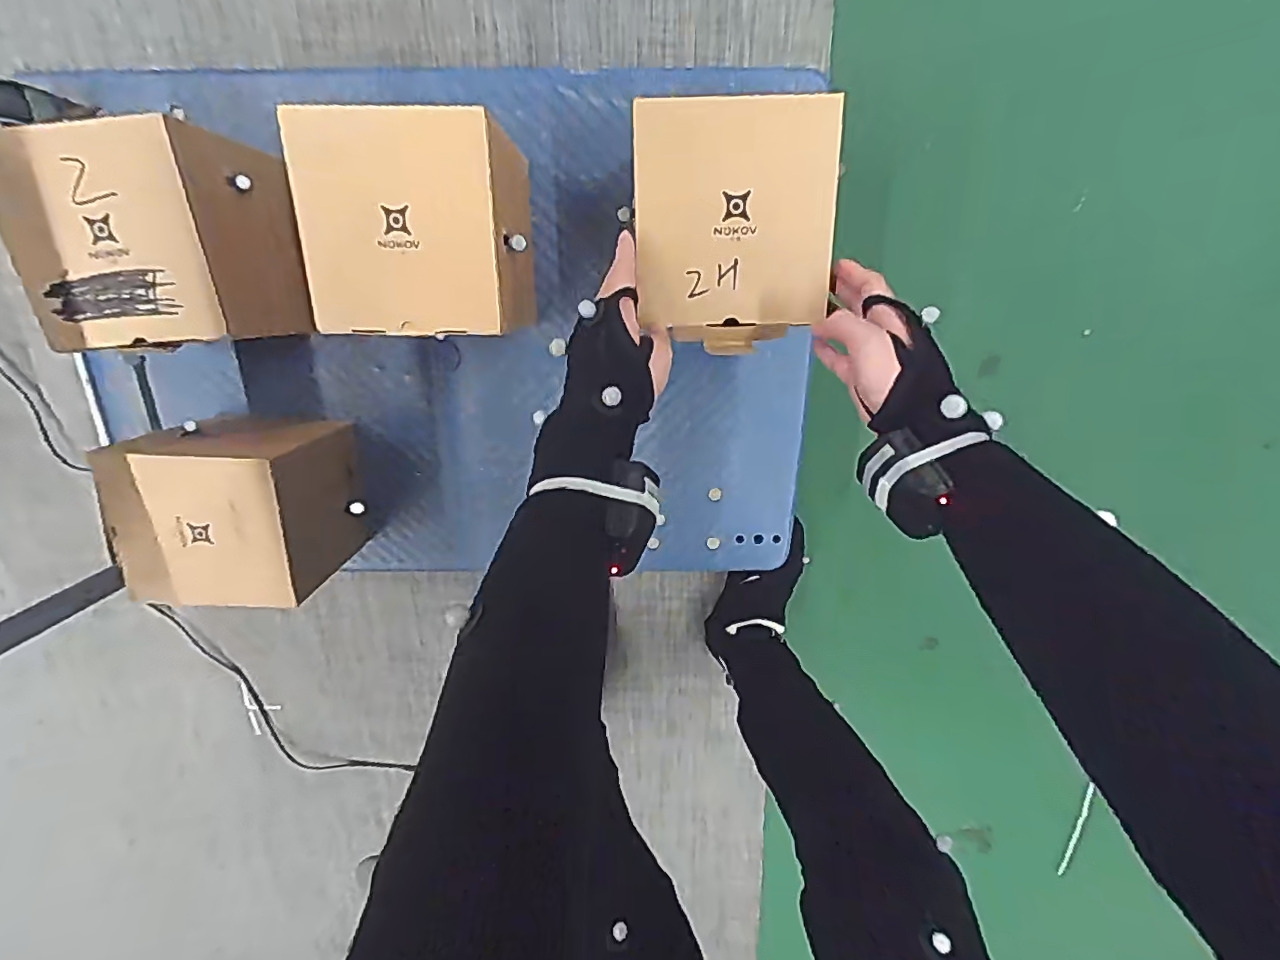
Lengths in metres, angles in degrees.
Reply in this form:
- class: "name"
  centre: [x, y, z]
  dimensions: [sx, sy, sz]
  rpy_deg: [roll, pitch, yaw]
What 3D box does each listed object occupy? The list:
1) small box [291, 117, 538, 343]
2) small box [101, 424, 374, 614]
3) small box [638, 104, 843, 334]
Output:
- class: "small box"
  centre: [-0.199, -0.232, 0.533]
  dimensions: [0.168, 0.176, 0.179]
  rpy_deg: [0, 110, 0]
- class: "small box"
  centre: [-0.436, 0.035, 0.619]
  dimensions: [0.179, 0.176, 0.168]
  rpy_deg: [2, 108, -2]
- class: "small box"
  centre: [0.081, -0.237, 0.528]
  dimensions: [0.168, 0.176, 0.179]
  rpy_deg: [-1, 109, 1]
